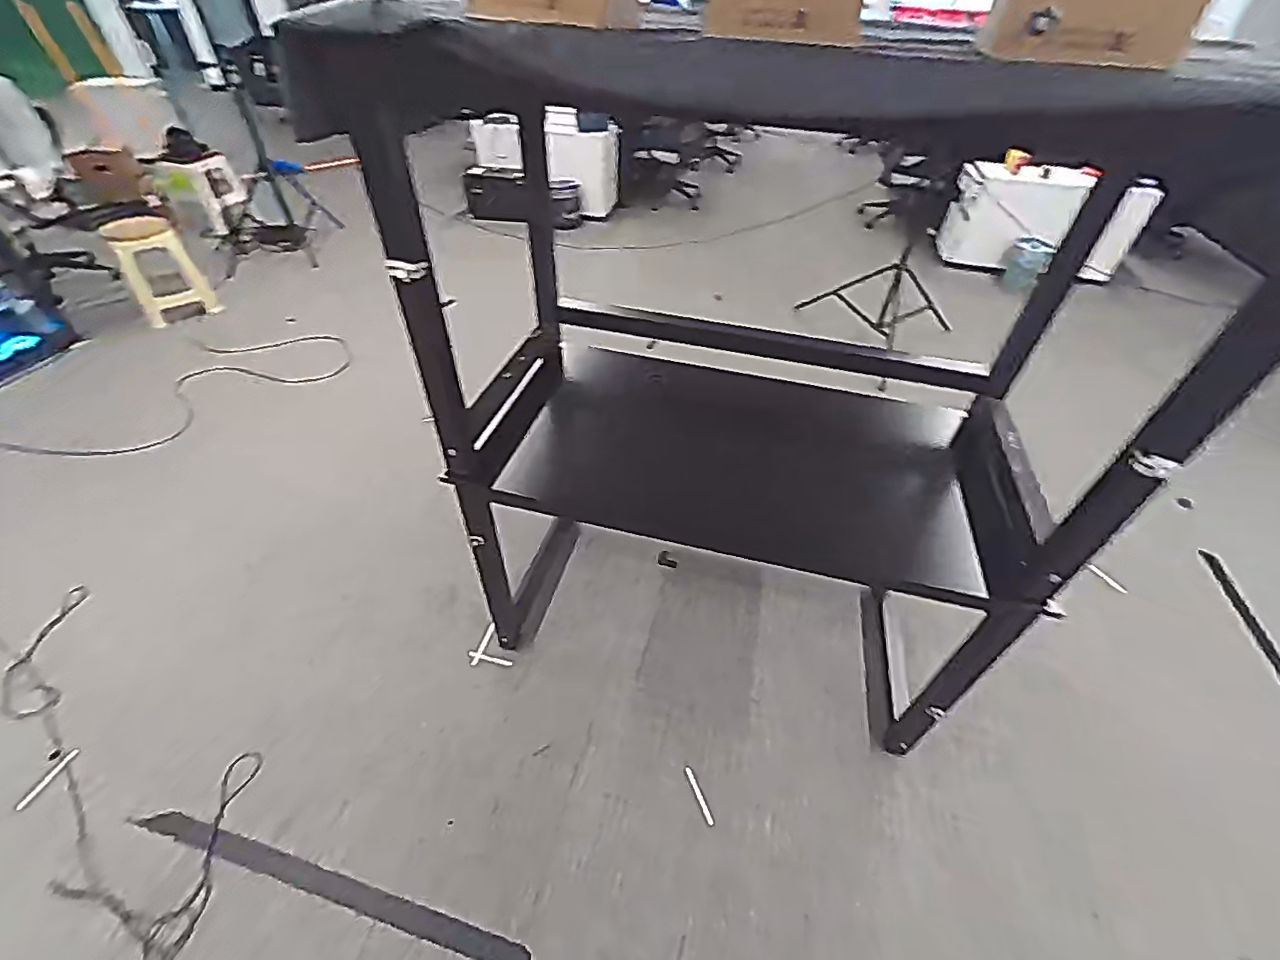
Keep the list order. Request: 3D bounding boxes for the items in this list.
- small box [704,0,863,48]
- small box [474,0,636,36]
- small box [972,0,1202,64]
[{"bbox_3d":[0.169,-0.582,0.582,0.168,0.176,0.179,12,42,10],"label":"small box"},{"bbox_3d":[-0.096,-0.633,0.625,0.168,0.176,0.179,11,43,8],"label":"small box"},{"bbox_3d":[0.459,-0.526,0.538,0.168,0.176,0.179,14,43,12],"label":"small box"}]
